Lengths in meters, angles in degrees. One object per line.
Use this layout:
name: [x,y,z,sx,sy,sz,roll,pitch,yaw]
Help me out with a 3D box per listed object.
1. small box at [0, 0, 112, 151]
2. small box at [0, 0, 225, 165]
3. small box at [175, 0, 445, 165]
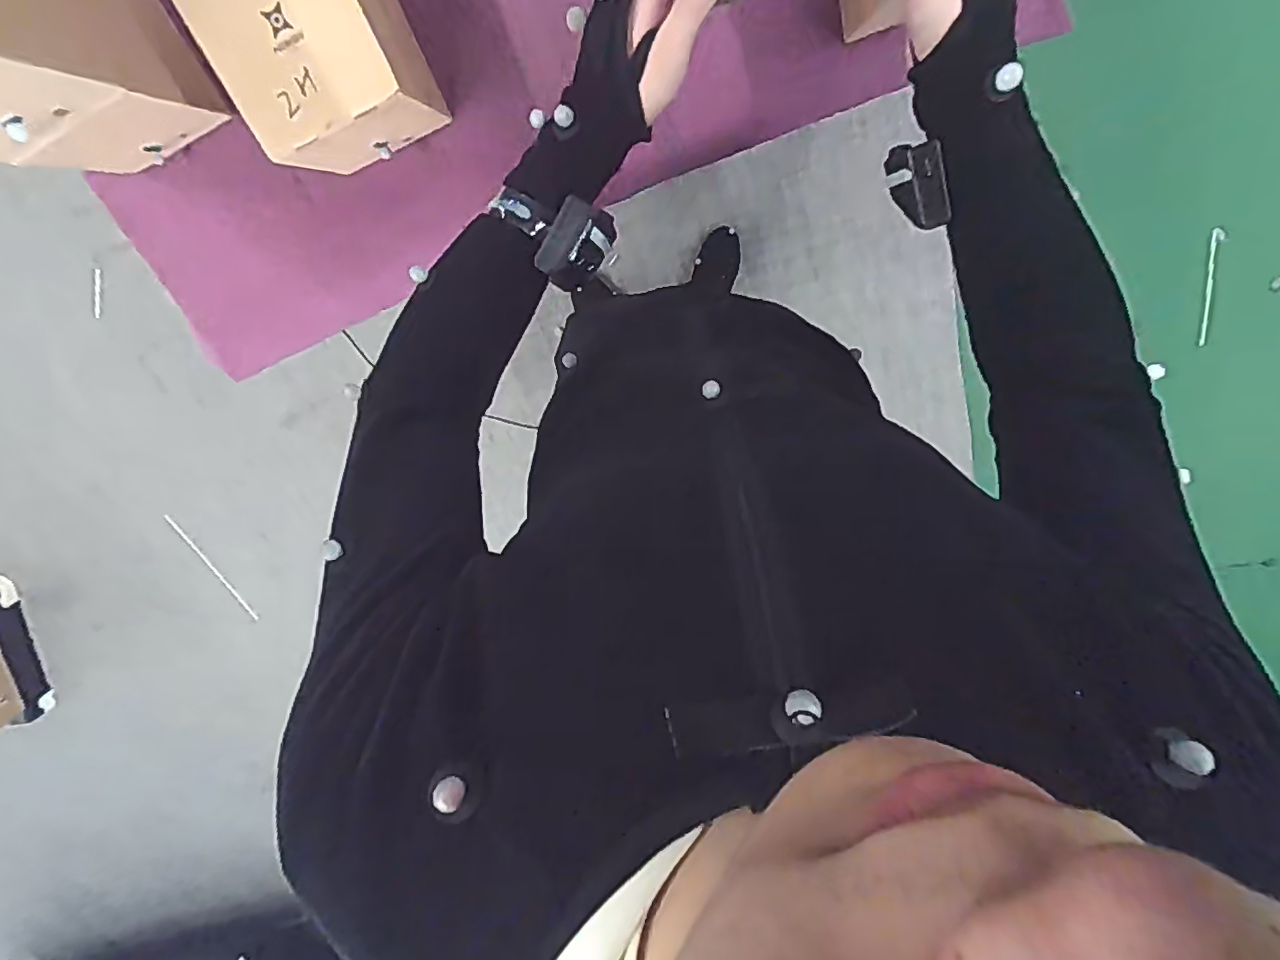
small box: [-0.628,-0.404,0.448,0.168,0.176,0.179,-21,115,11]
small box: [-0.629,-0.475,0.595,0.168,0.176,0.179,-21,115,10]
small box: [-0.348,-0.475,0.595,0.168,0.176,0.179,-19,115,10]
